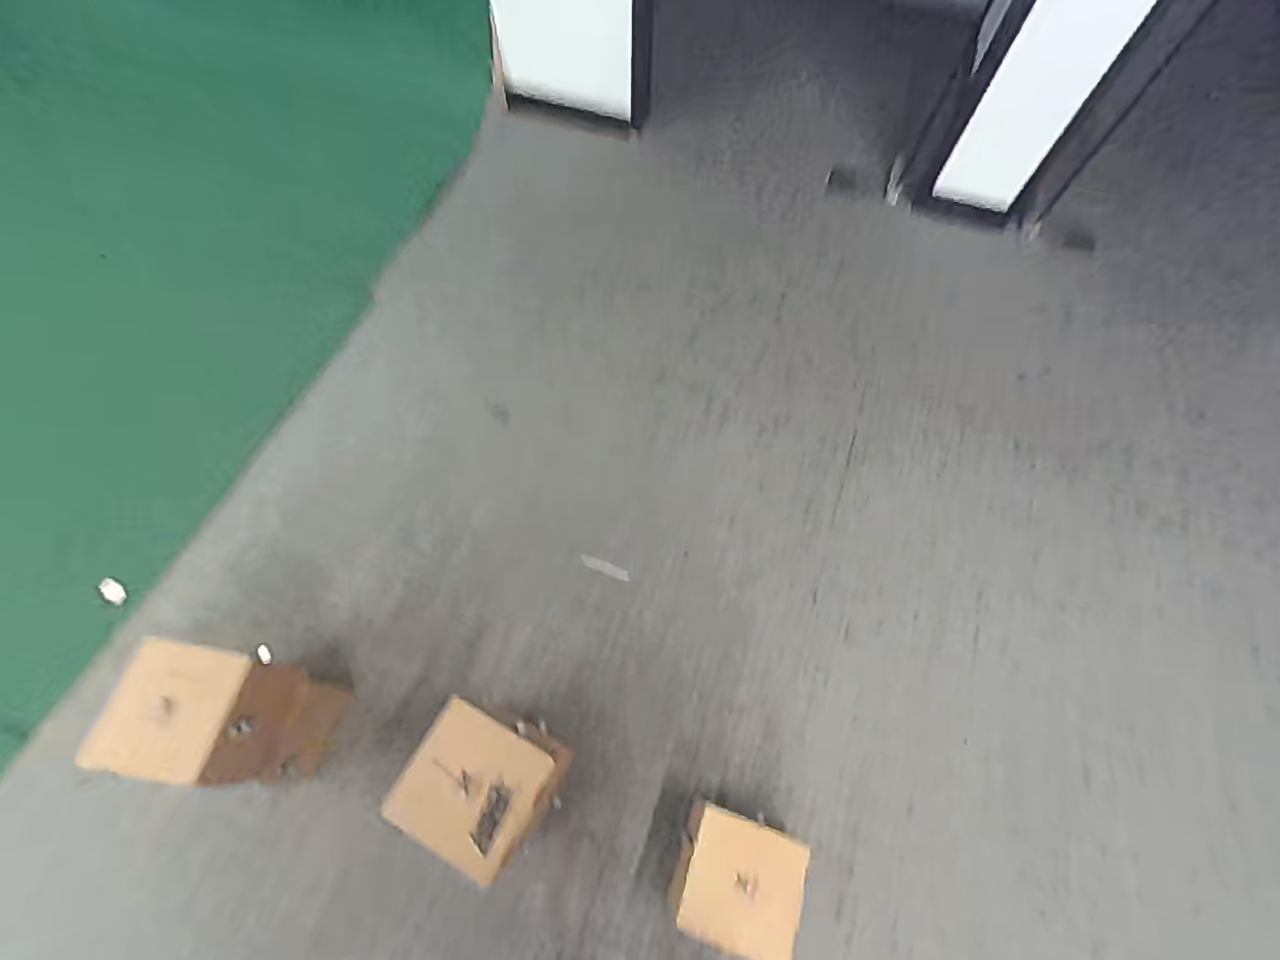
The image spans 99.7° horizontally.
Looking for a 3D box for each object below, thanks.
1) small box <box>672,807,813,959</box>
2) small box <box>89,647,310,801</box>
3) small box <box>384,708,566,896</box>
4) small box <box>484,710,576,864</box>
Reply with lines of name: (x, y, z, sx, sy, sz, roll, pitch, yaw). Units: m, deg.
small box: (0.160, 0.662, 0.893, 0.179, 0.176, 0.168, 19, 65, 7)
small box: (-0.655, 0.375, 0.835, 0.168, 0.176, 0.179, 10, 63, 3)
small box: (-0.226, 0.460, 0.800, 0.179, 0.176, 0.168, 26, 66, 13)
small box: (-0.226, 0.527, 0.951, 0.179, 0.176, 0.168, 26, 65, 11)
